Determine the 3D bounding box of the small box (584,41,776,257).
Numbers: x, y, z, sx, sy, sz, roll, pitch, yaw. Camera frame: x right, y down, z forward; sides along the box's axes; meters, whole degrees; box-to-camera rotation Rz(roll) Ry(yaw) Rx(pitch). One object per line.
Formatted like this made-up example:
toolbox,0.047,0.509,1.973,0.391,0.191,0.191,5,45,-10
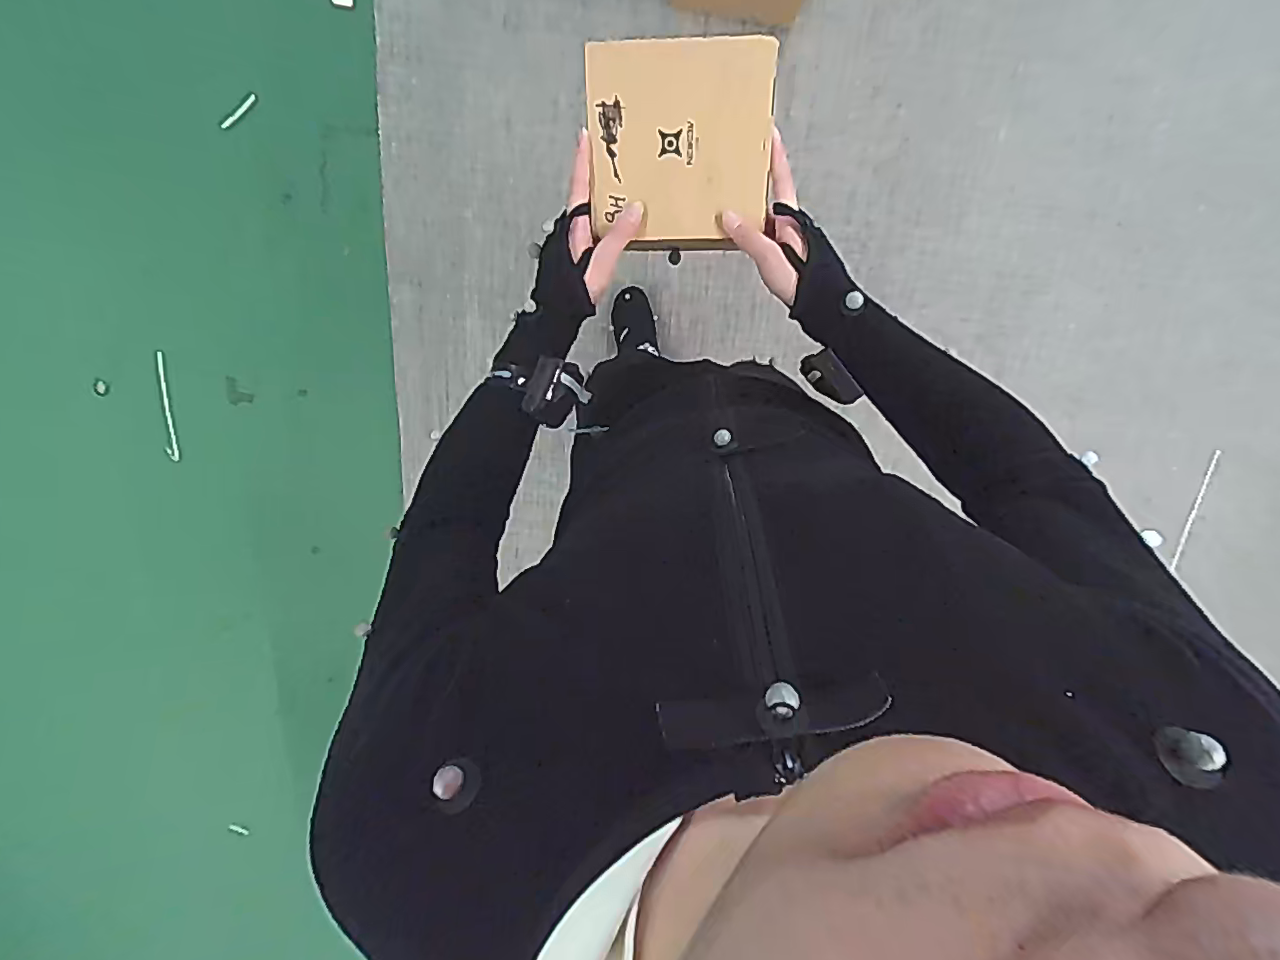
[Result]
small box,0.035,-0.338,0.584,0.179,0.176,0.168,1,108,1
